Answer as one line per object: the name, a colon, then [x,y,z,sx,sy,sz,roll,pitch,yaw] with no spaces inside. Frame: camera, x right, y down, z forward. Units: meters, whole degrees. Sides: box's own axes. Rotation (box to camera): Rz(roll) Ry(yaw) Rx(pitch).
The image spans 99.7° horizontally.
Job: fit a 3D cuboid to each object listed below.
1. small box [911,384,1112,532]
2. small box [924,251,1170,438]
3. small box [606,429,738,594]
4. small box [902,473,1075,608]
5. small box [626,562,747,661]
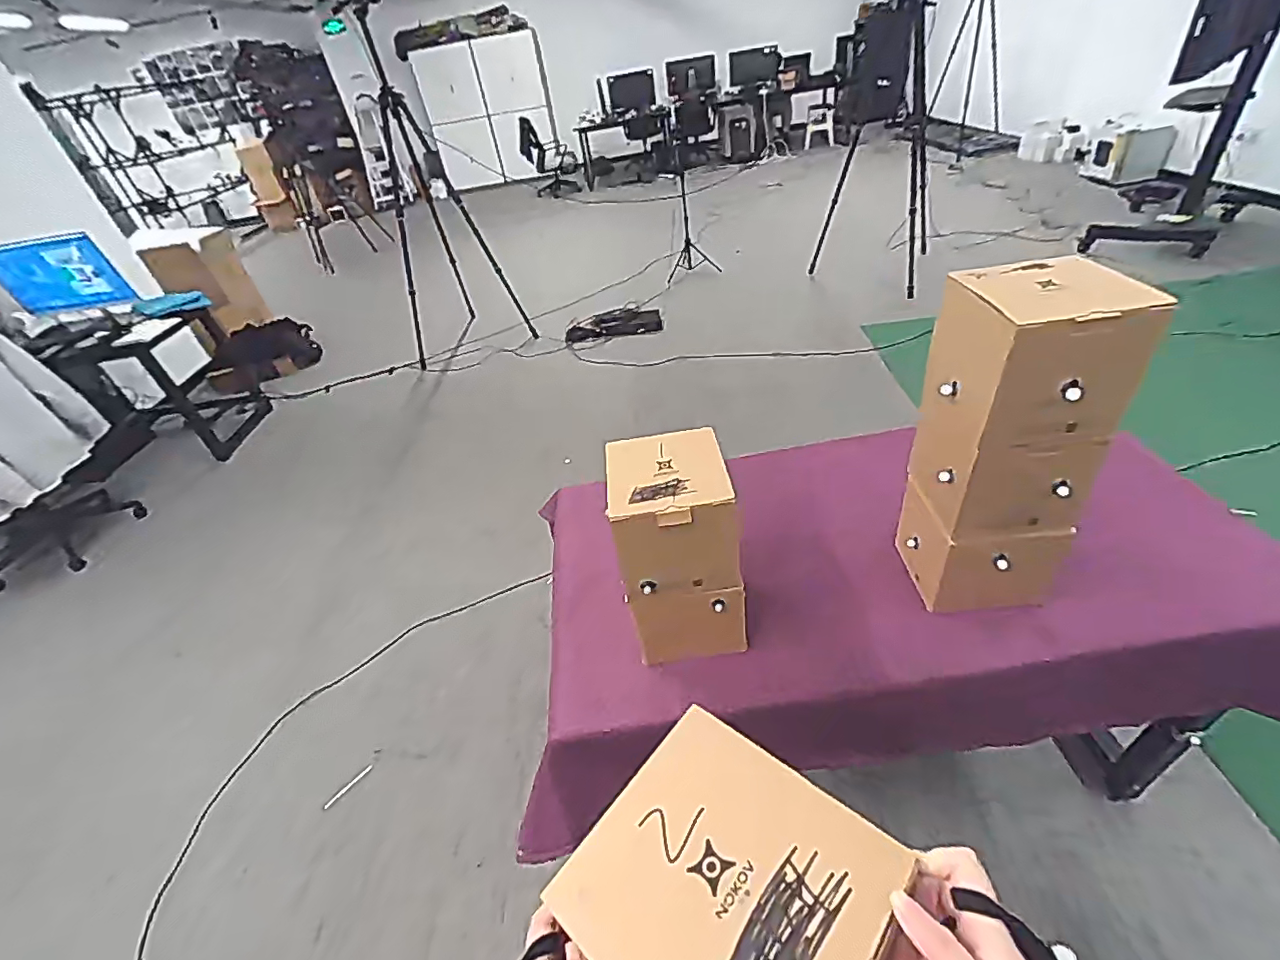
small box: [0.516,-0.039,0.784,0.168,0.176,0.179,-7,38,6]
small box: [0.486,-0.165,0.683,0.168,0.176,0.179,-7,39,5]
small box: [0.046,0.051,0.801,0.168,0.176,0.179,-9,37,2]
small box: [0.544,0.092,0.878,0.179,0.176,0.168,-7,39,7]
small box: [0.075,0.180,0.899,0.179,0.176,0.168,-9,38,3]
